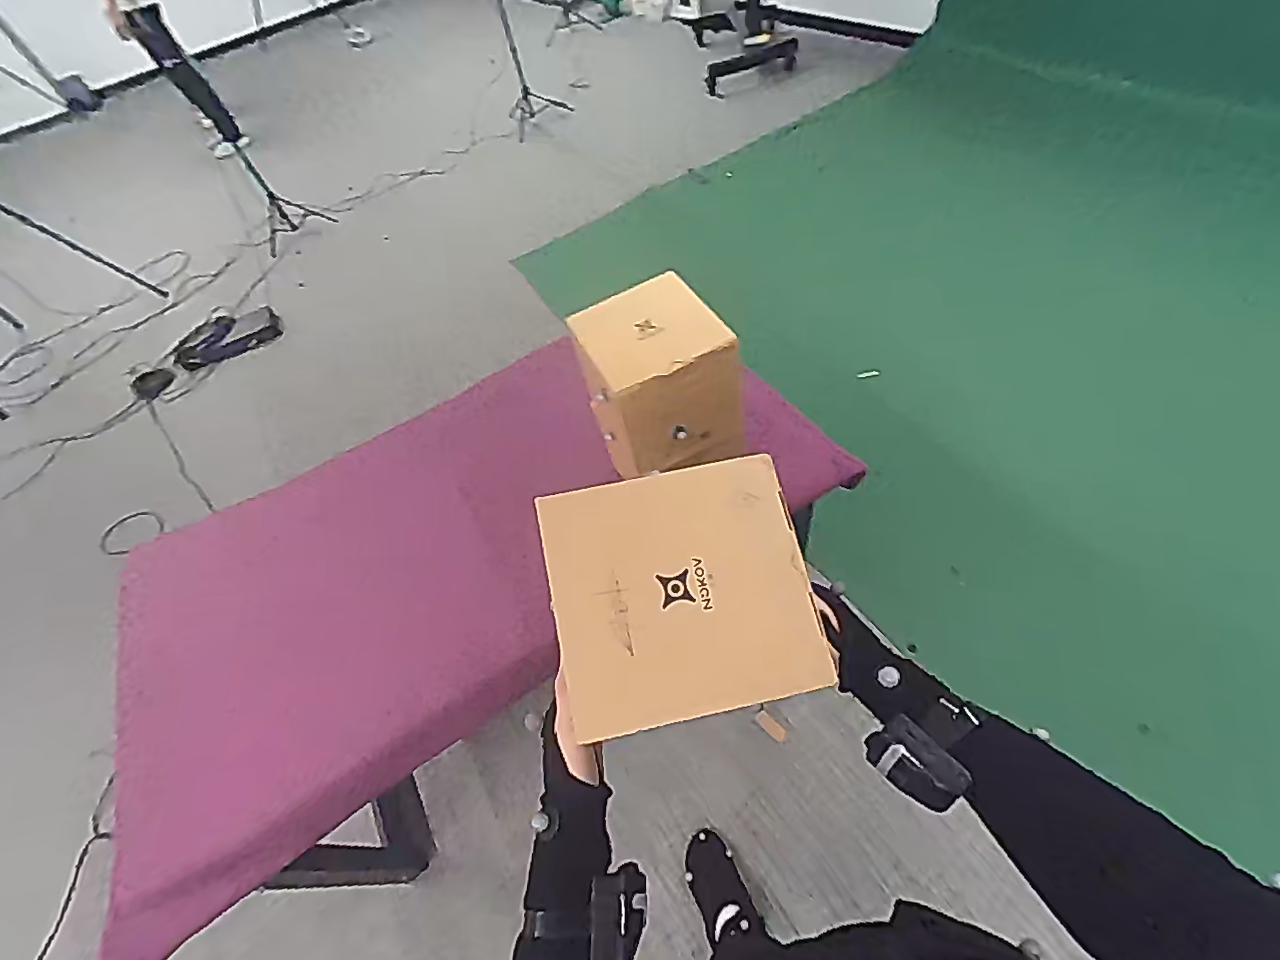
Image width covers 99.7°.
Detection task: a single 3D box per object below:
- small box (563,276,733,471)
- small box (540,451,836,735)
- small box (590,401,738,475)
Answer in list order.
[{"bbox_3d":[0.015,-0.144,0.751,0.168,0.176,0.179,-27,53,-7],"label":"small box"},{"bbox_3d":[0.026,0.092,0.439,0.179,0.176,0.168,-10,72,-4],"label":"small box"},{"bbox_3d":[0.046,-0.067,0.893,0.179,0.176,0.168,-33,51,-12],"label":"small box"}]
